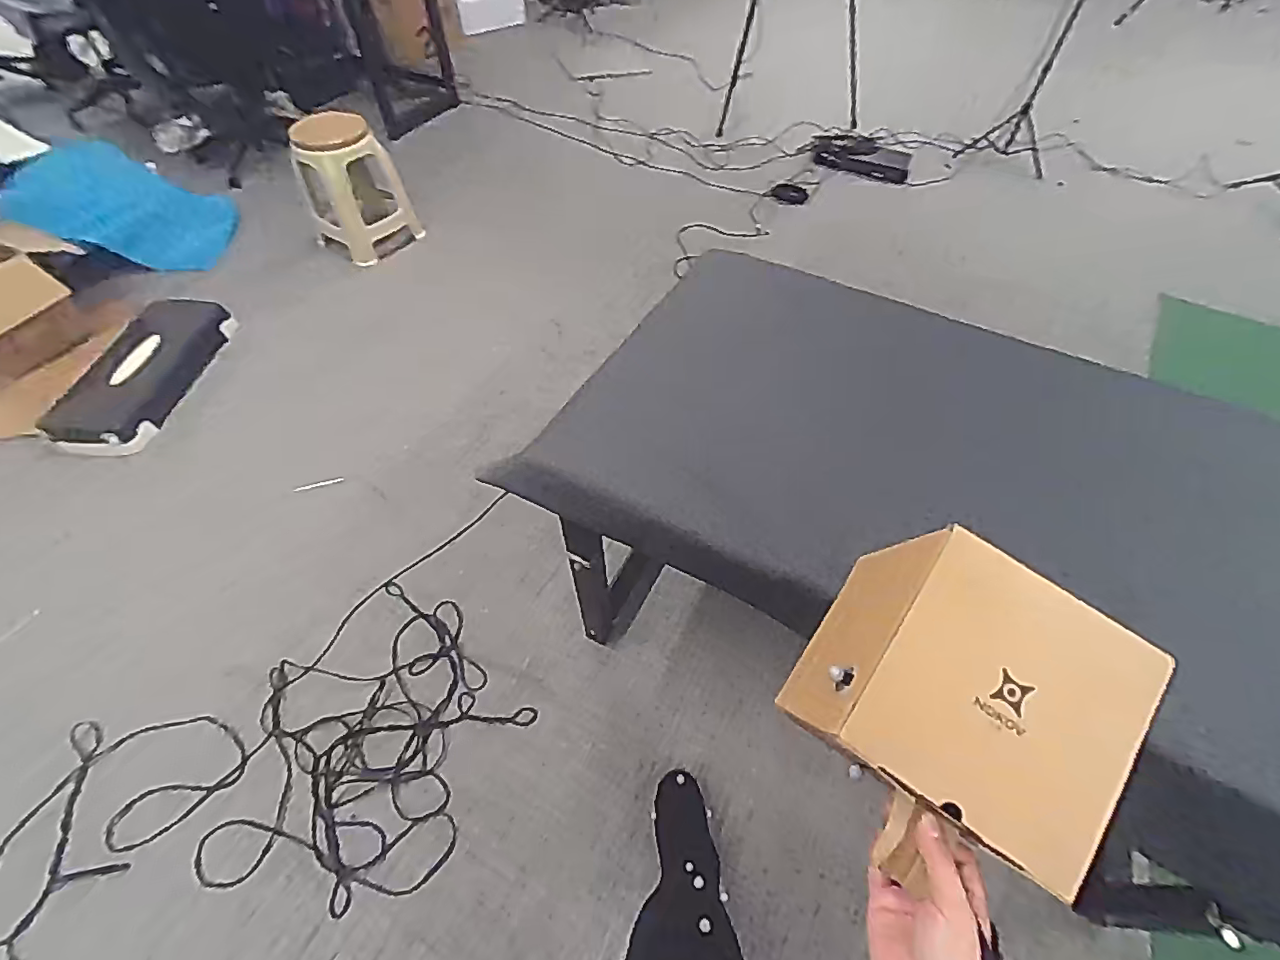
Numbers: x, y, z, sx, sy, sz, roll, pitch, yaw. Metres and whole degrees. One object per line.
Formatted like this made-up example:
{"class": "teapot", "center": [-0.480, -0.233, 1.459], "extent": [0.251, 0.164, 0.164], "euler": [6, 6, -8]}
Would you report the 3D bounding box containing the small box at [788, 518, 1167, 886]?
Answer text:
{"class": "small box", "center": [0.244, 0.157, 0.437], "extent": [0.168, 0.176, 0.179], "euler": [34, 78, 7]}
